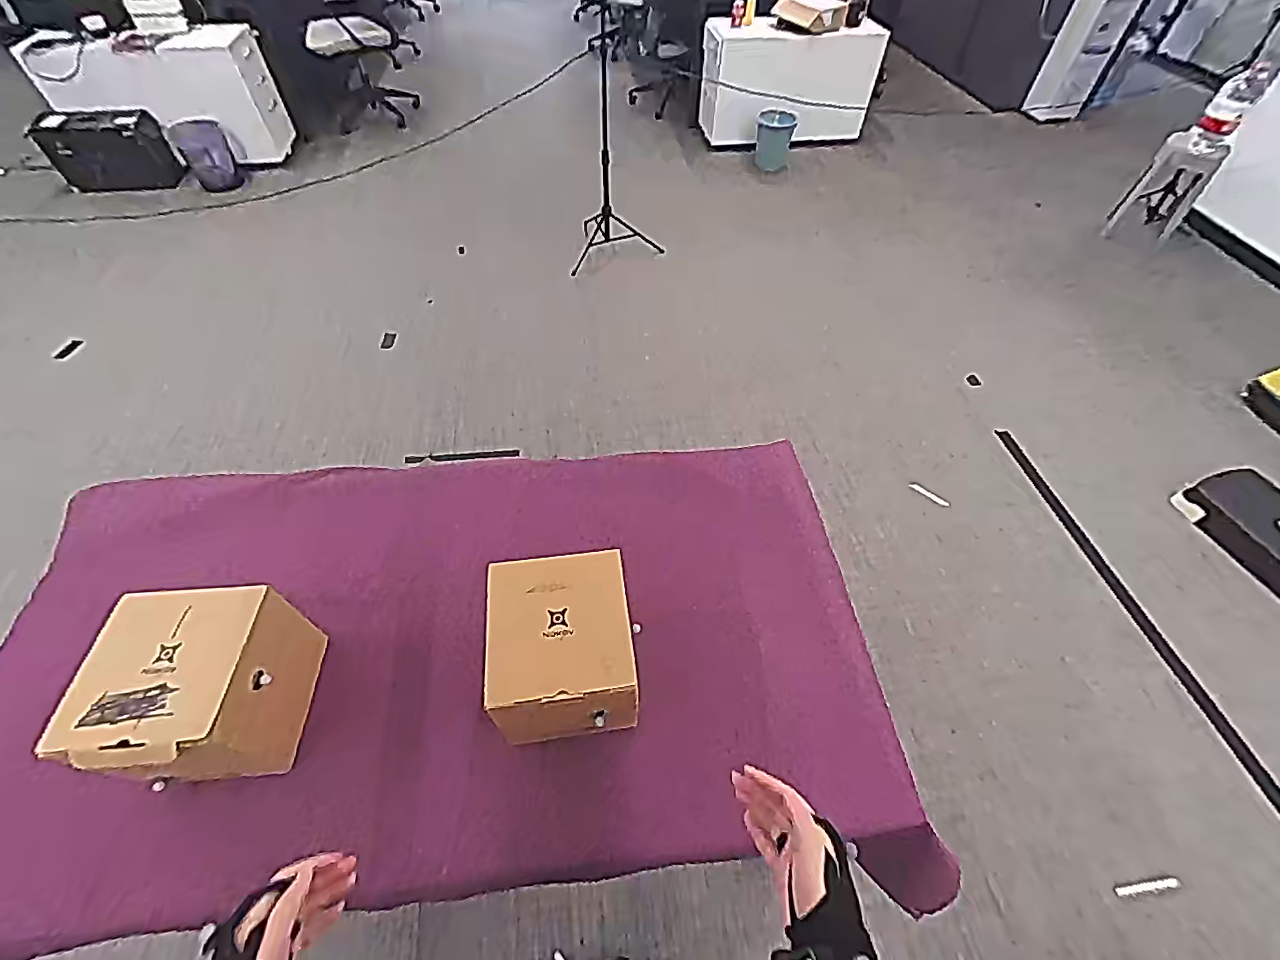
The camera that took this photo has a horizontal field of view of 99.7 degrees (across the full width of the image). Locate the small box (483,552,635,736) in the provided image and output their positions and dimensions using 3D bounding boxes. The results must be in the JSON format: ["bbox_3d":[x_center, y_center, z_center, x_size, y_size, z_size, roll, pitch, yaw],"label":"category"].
[{"bbox_3d":[-0.096,0.214,0.689,0.168,0.176,0.179,-5,52,-6],"label":"small box"}]

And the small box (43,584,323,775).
[{"bbox_3d":[-0.517,0.245,0.652,0.168,0.176,0.179,-2,51,-4],"label":"small box"}]
